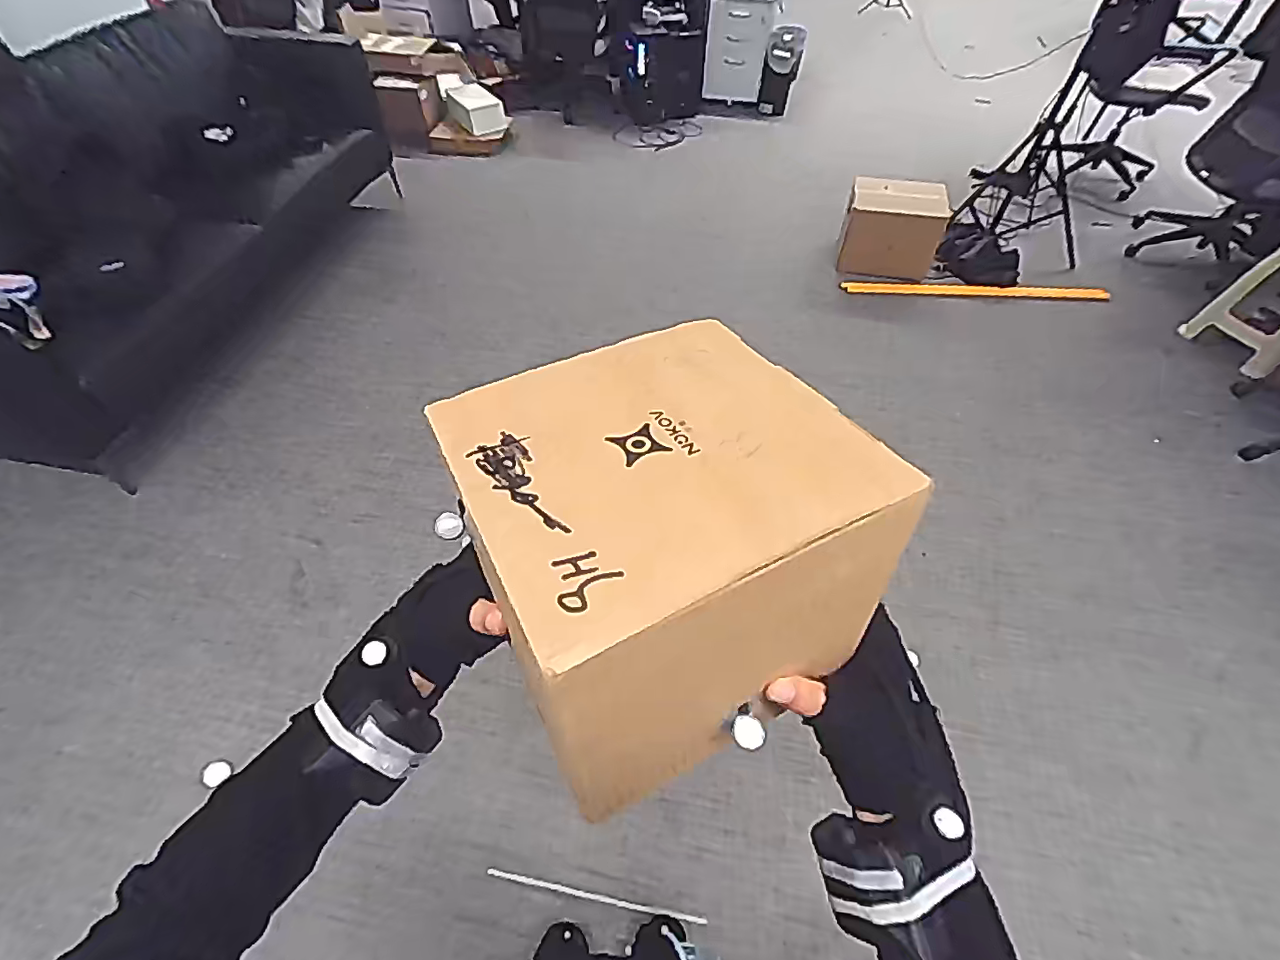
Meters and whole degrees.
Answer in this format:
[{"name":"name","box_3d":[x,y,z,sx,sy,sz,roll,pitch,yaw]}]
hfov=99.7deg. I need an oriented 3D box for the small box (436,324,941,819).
[{"name":"small box","box_3d":[0.012,0.042,0.297,0.179,0.176,0.168,-21,46,-20]}]
